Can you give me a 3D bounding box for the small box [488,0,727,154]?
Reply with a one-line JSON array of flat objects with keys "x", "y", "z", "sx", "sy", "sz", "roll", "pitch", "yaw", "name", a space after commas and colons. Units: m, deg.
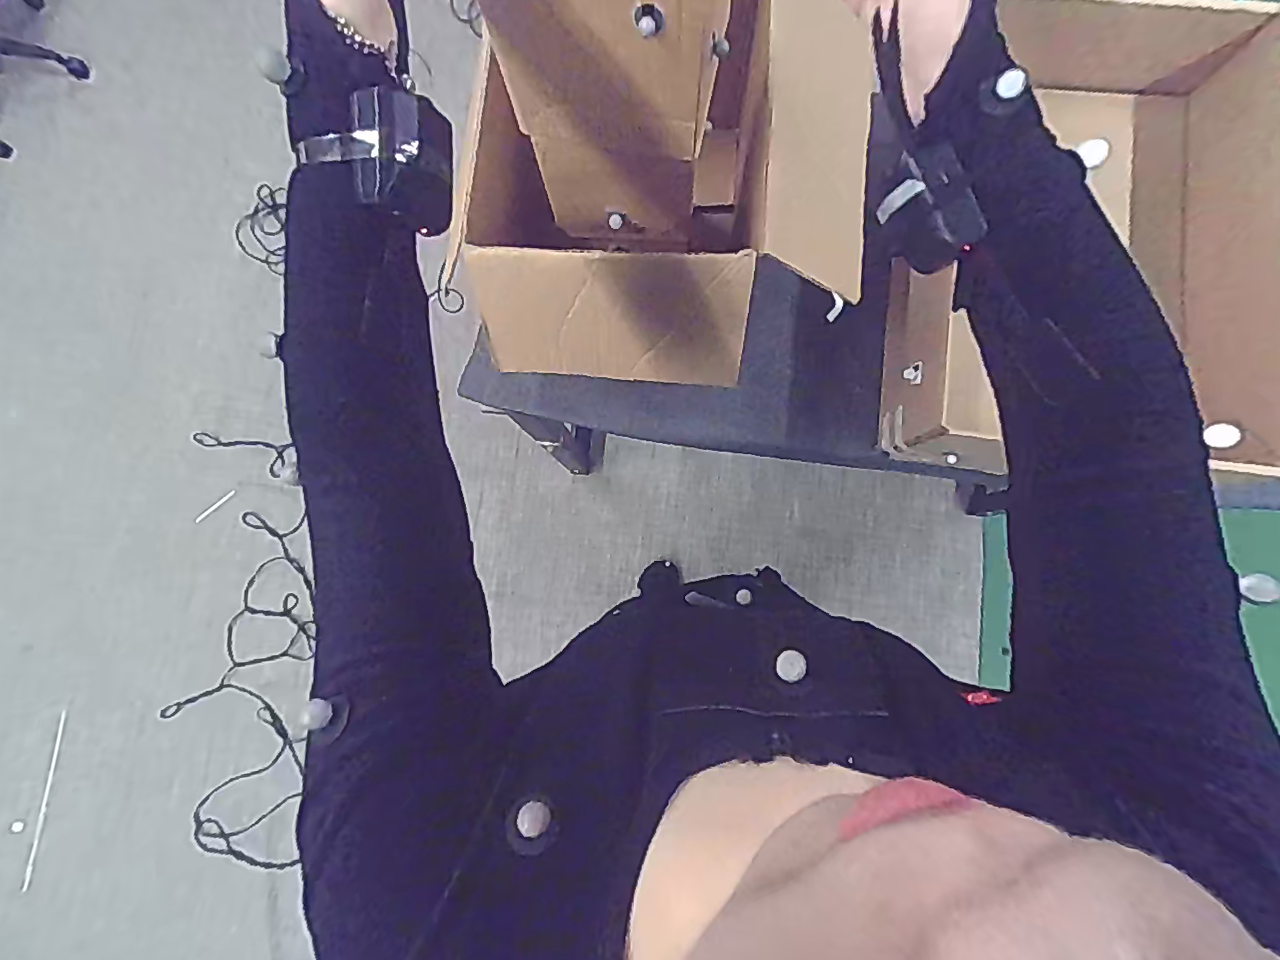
[{"x": -0.020, "y": -0.409, "z": 0.449, "sx": 0.179, "sy": 0.176, "sz": 0.168, "roll": 11, "pitch": 83, "yaw": 3, "name": "small box"}]
